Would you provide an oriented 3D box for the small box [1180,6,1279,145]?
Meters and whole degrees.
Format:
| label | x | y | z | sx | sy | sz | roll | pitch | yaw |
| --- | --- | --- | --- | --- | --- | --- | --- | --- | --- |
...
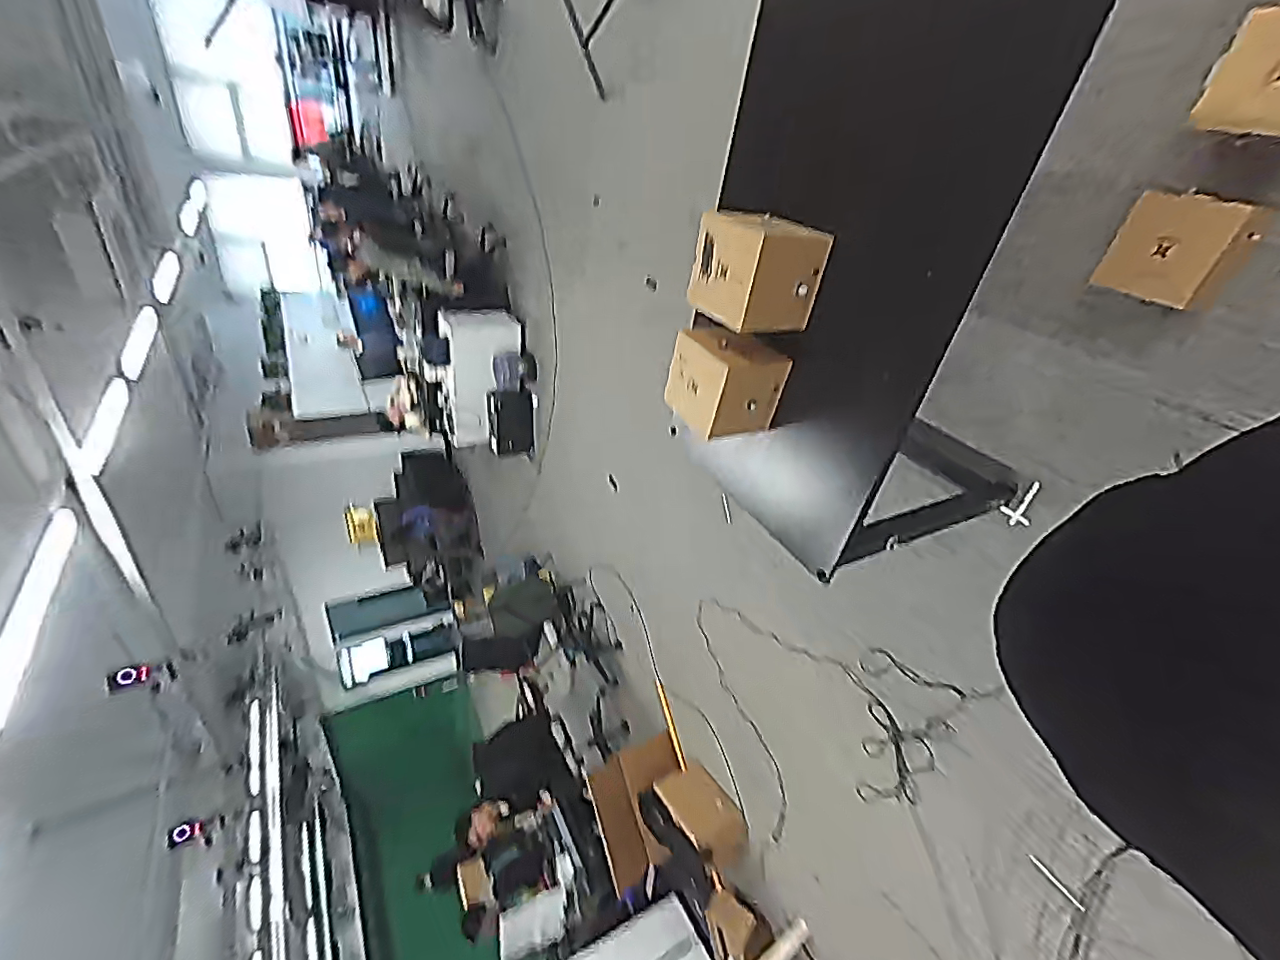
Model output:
| label | x | y | z | sx | sy | sz | roll | pitch | yaw |
| --- | --- | --- | --- | --- | --- | --- | --- | --- | --- |
| small box | 1.072 | -0.656 | 0.887 | 0.179 | 0.176 | 0.168 | 47 | 139 | 44 |

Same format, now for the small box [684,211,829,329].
| label | x | y | z | sx | sy | sz | roll | pitch | yaw |
| --- | --- | --- | --- | --- | --- | --- | --- | --- | --- |
| small box | 0.210 | -0.389 | 1.004 | 0.179 | 0.176 | 0.168 | 47 | 138 | 43 |

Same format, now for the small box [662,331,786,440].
| label | x | y | z | sx | sy | sz | roll | pitch | yaw |
| --- | --- | --- | --- | --- | --- | --- | --- | --- | --- |
| small box | 0.174 | -0.206 | 1.131 | 0.179 | 0.176 | 0.168 | 51 | 140 | 41 |

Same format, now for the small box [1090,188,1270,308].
| label | x | y | z | sx | sy | sz | roll | pitch | yaw |
| --- | --- | --- | --- | --- | --- | --- | --- | --- | --- |
| small box | 1.033 | -0.442 | 1.036 | 0.168 | 0.176 | 0.179 | 48 | 140 | 44 |
